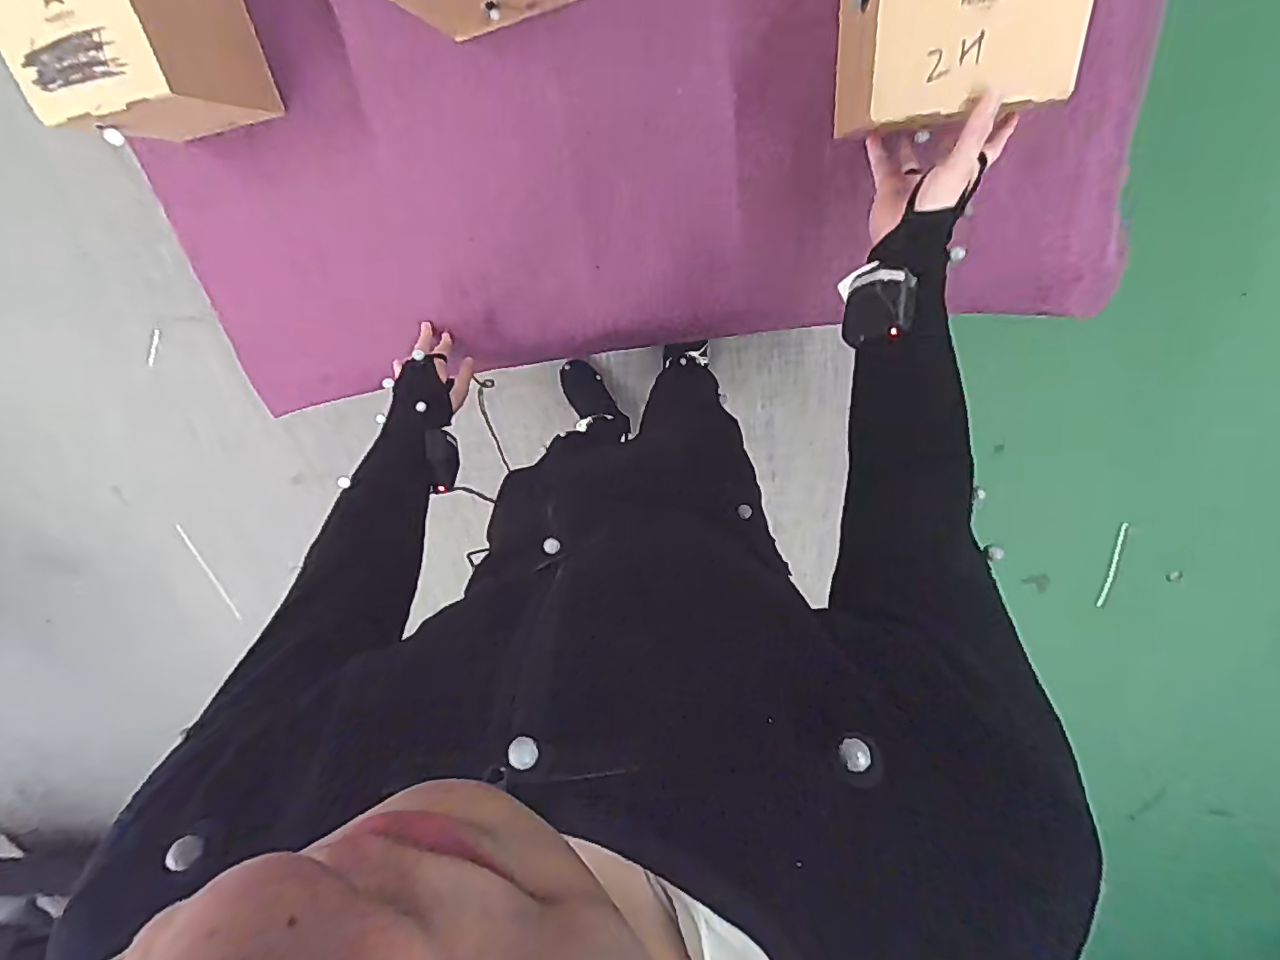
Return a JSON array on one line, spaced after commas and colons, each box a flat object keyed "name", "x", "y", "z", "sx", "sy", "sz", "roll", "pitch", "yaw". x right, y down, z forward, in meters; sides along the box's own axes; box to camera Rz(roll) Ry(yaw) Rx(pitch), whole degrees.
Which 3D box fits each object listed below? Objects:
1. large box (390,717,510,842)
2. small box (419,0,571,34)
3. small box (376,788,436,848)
[{"name": "large box", "x": -0.821, "y": 1.295, "z": 2.354, "sx": 0.408, "sy": 0.320, "sz": 0.320, "roll": 16, "pitch": 120, "yaw": -3}, {"name": "small box", "x": -0.159, "y": -0.557, "z": 0.497, "sx": 0.168, "sy": 0.176, "sz": 0.179, "roll": -9, "pitch": 118, "yaw": 12}, {"name": "small box", "x": -0.920, "y": 1.353, "z": 2.117, "sx": 0.168, "sy": 0.176, "sz": 0.179, "roll": 22, "pitch": 117, "yaw": -6}]
